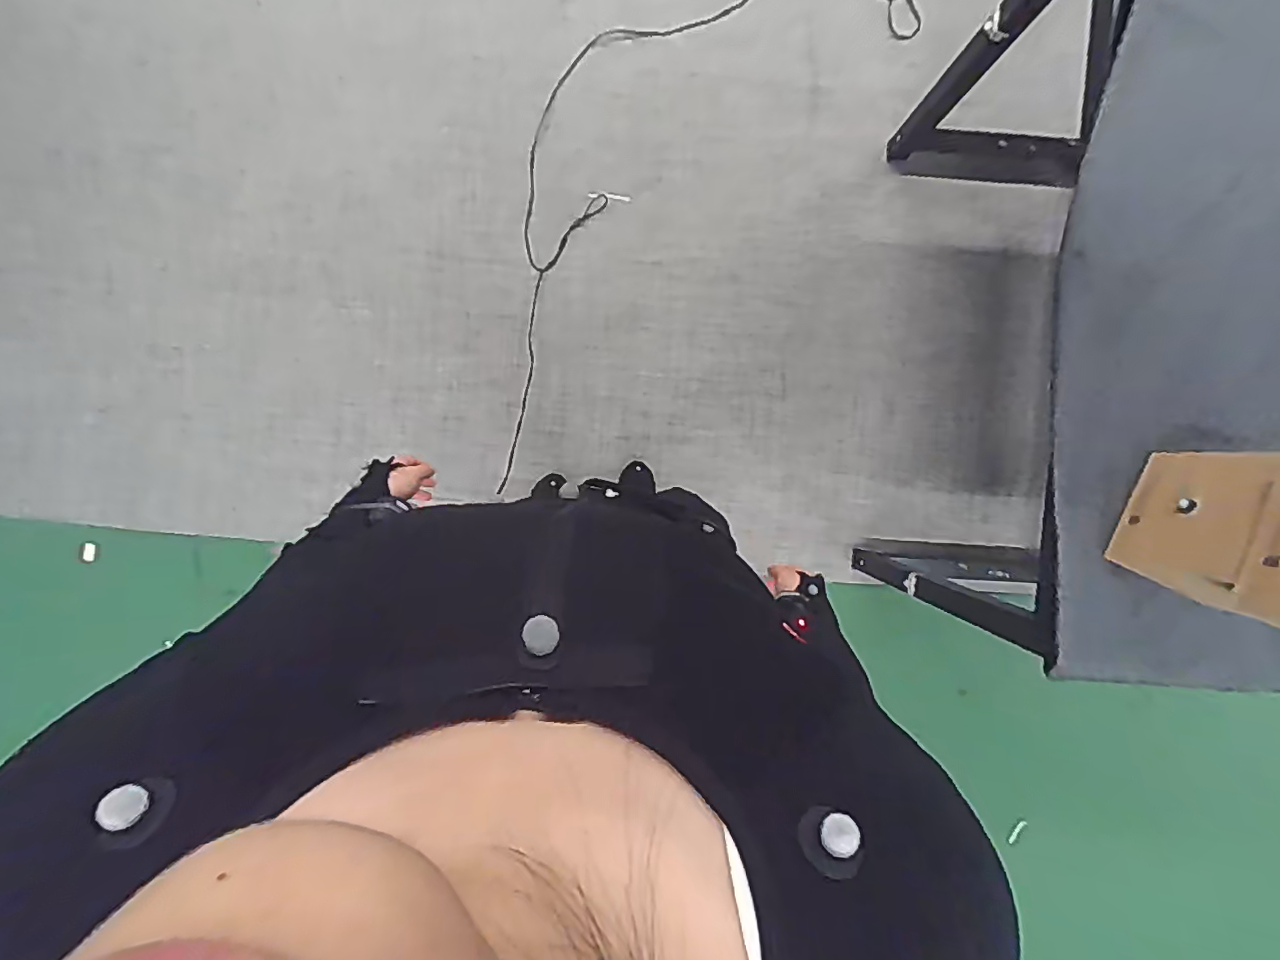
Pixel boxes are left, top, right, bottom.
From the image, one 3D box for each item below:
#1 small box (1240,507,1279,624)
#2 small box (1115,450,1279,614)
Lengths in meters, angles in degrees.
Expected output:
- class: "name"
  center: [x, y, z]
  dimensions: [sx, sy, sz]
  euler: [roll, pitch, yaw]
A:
- class: "small box"
  center: [0.766, 0.096, 0.523]
  dimensions: [0.179, 0.176, 0.168]
  euler: [19, 92, -4]
- class: "small box"
  center: [0.772, 0.073, 0.685]
  dimensions: [0.179, 0.176, 0.168]
  euler: [24, 91, -4]
